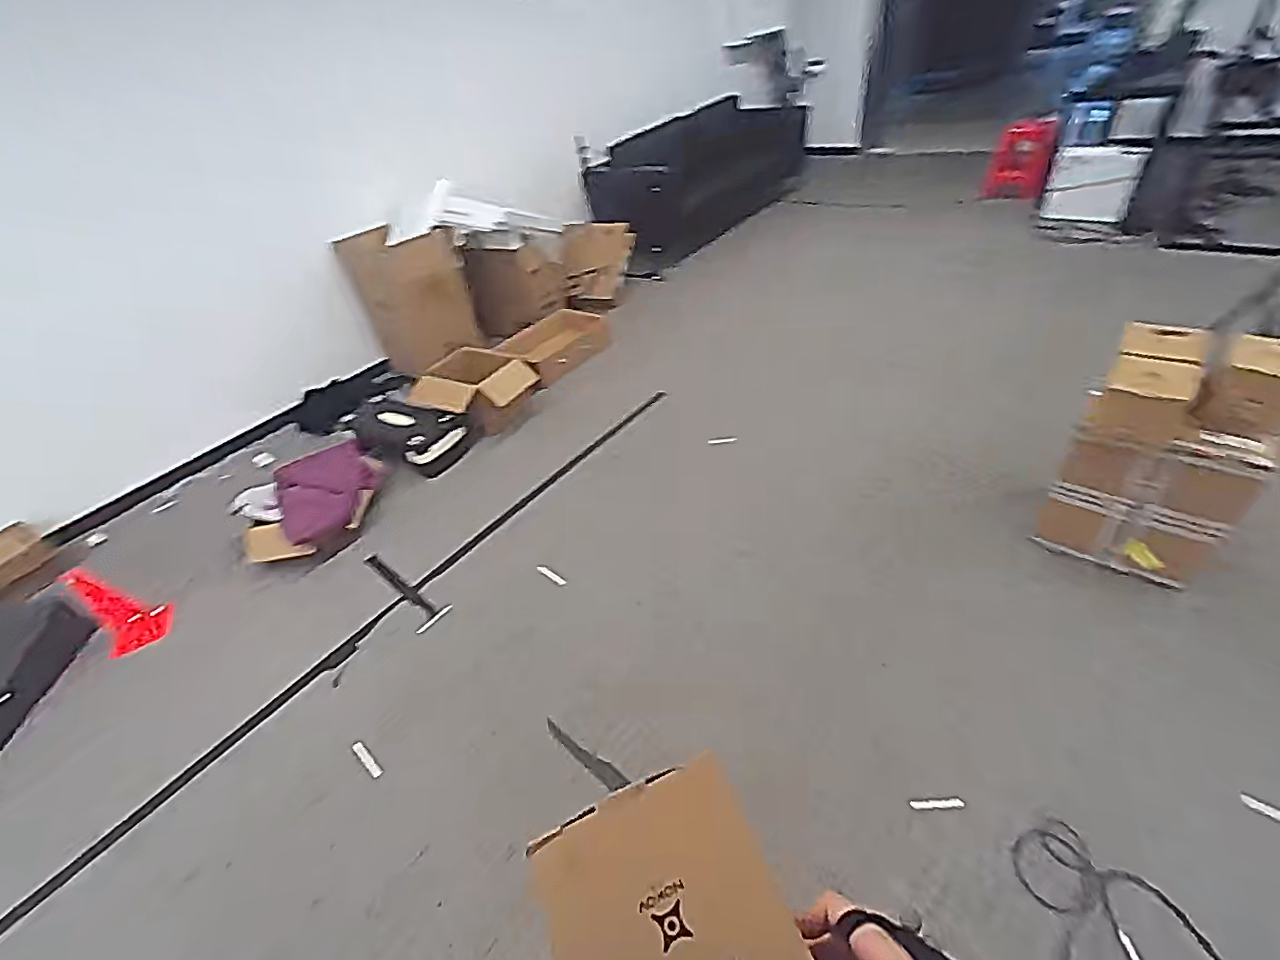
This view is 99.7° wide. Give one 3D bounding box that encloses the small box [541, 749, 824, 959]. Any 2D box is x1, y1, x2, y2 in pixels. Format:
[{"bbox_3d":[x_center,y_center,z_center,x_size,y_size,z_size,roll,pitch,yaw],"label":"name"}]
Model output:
[{"bbox_3d":[0.027,0.364,0.453,0.168,0.176,0.179,-19,54,-15],"label":"small box"}]
